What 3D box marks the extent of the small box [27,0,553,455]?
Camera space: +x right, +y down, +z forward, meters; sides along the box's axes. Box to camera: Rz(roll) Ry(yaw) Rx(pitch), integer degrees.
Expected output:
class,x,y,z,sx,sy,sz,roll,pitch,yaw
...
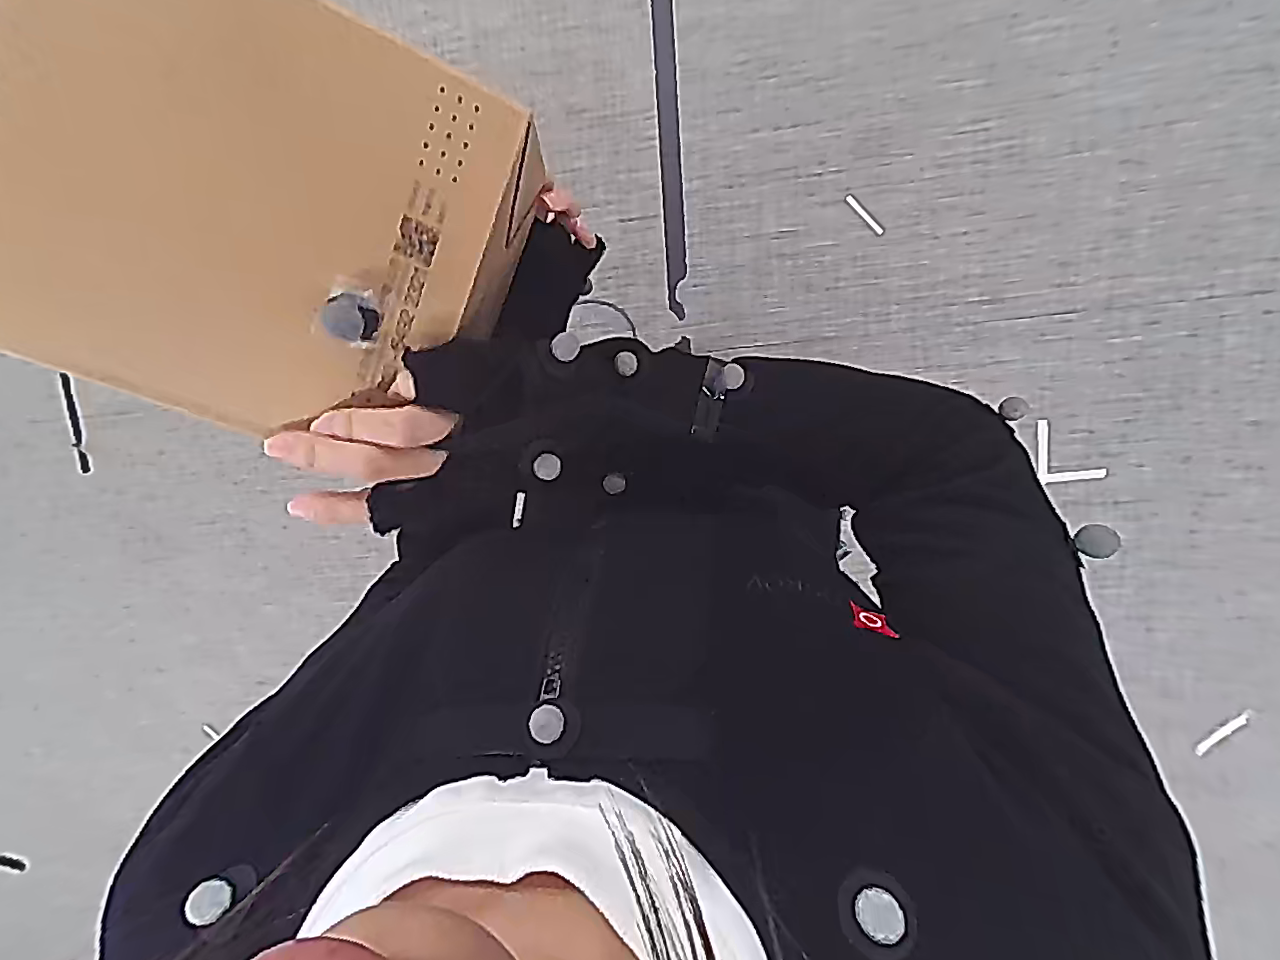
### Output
class,x,y,z,sx,sy,sz,roll,pitch,yaw
small box,-0.155,-0.133,0.298,0.176,0.179,0.168,21,109,-14
